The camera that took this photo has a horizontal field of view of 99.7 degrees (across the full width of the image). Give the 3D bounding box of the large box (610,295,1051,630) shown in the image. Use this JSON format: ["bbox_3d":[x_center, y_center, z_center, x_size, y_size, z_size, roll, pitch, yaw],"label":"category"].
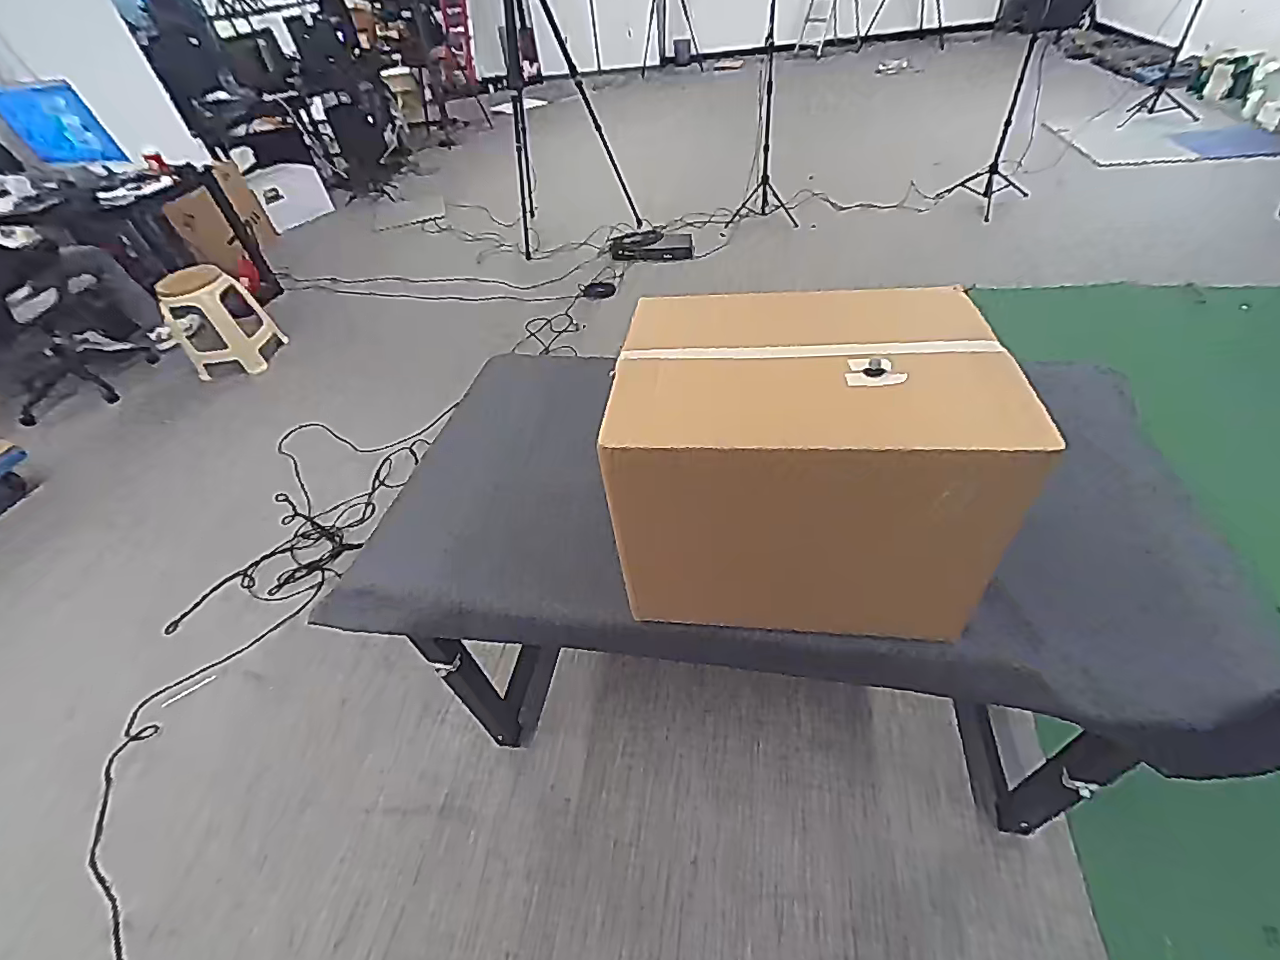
[{"bbox_3d":[0.193,-0.025,0.704,0.408,0.320,0.320,2,45,9],"label":"large box"}]
